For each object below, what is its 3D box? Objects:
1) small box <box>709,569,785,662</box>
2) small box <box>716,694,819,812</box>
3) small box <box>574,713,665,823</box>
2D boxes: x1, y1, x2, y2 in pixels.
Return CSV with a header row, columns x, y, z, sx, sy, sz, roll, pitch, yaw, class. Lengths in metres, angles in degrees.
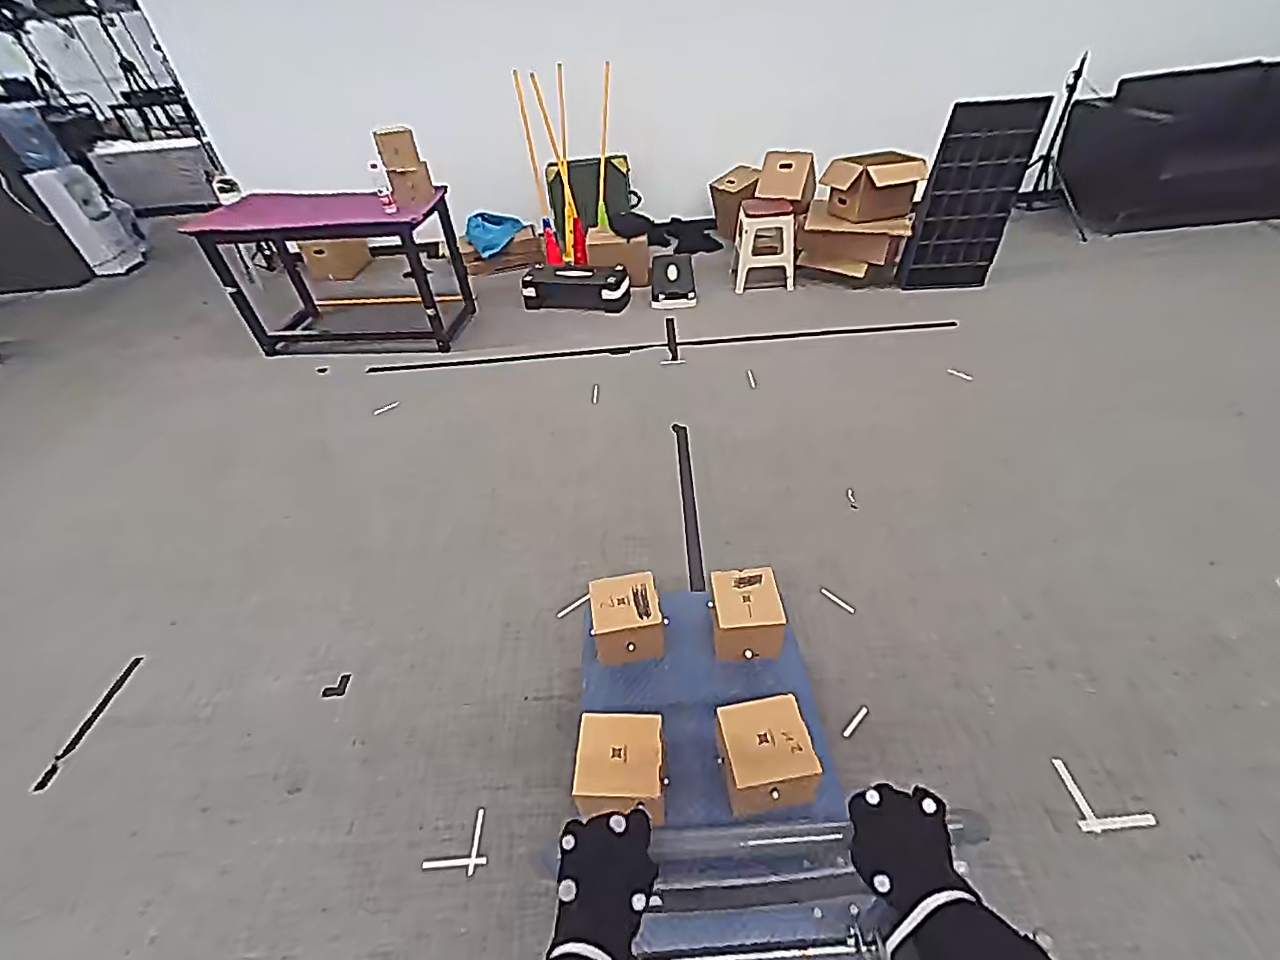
x,y,z,sx,sy,sz,roll,pitch,yaw,class
0.277,0.361,1.442,0.168,0.176,0.179,-5,43,1,small box
0.269,0.597,1.177,0.179,0.176,0.168,-9,42,-3,small box
-0.037,0.628,1.177,0.179,0.176,0.168,0,41,3,small box
